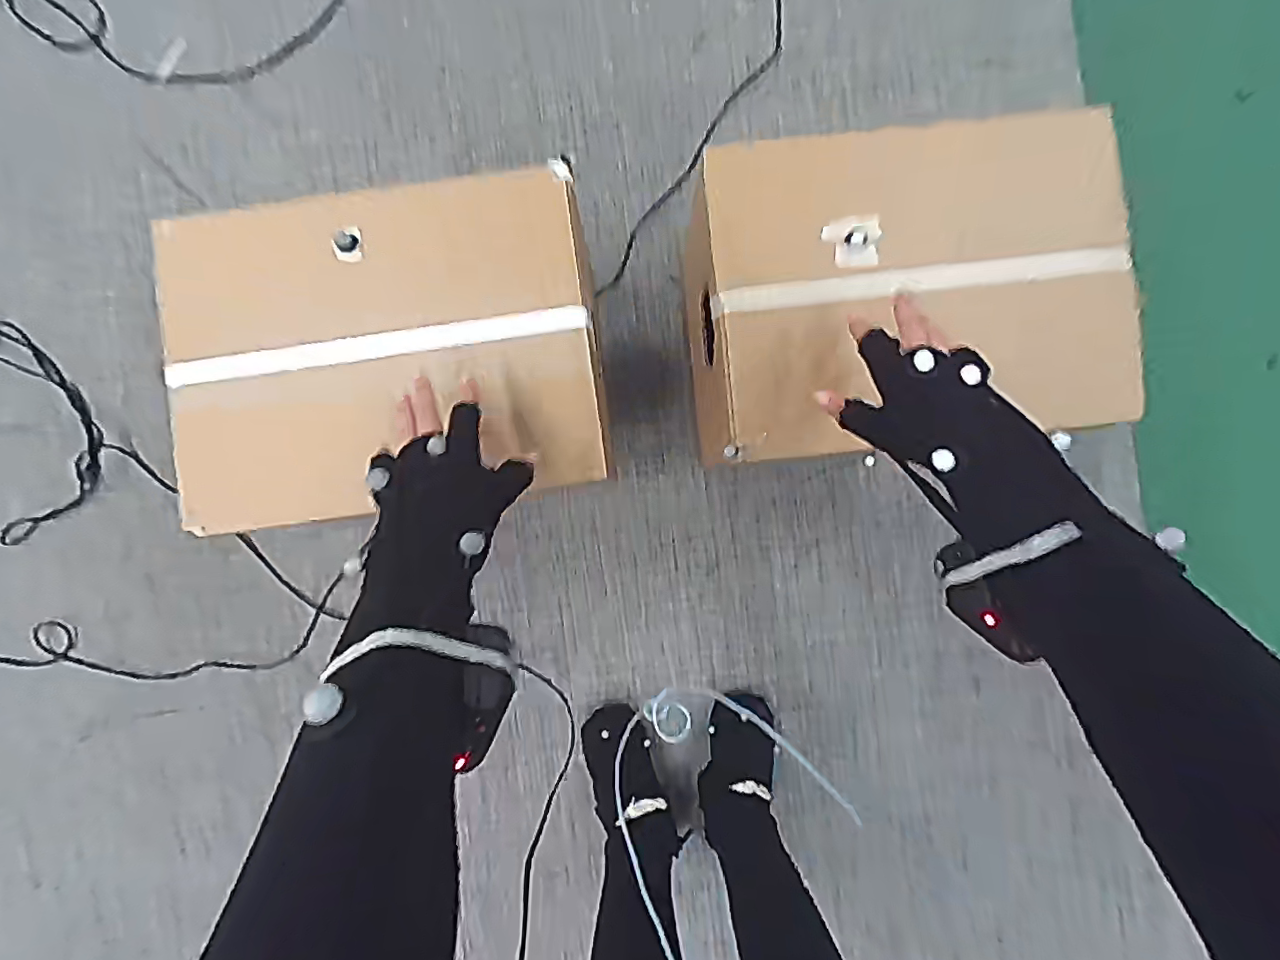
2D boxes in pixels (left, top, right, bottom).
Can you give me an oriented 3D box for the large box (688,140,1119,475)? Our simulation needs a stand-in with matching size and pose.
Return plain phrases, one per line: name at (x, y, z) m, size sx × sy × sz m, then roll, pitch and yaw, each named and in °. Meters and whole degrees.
large box at (0.286, -0.179, 0.708) m, size 0.408 × 0.320 × 0.320 m, roll -5°, pitch 89°, yaw 0°
